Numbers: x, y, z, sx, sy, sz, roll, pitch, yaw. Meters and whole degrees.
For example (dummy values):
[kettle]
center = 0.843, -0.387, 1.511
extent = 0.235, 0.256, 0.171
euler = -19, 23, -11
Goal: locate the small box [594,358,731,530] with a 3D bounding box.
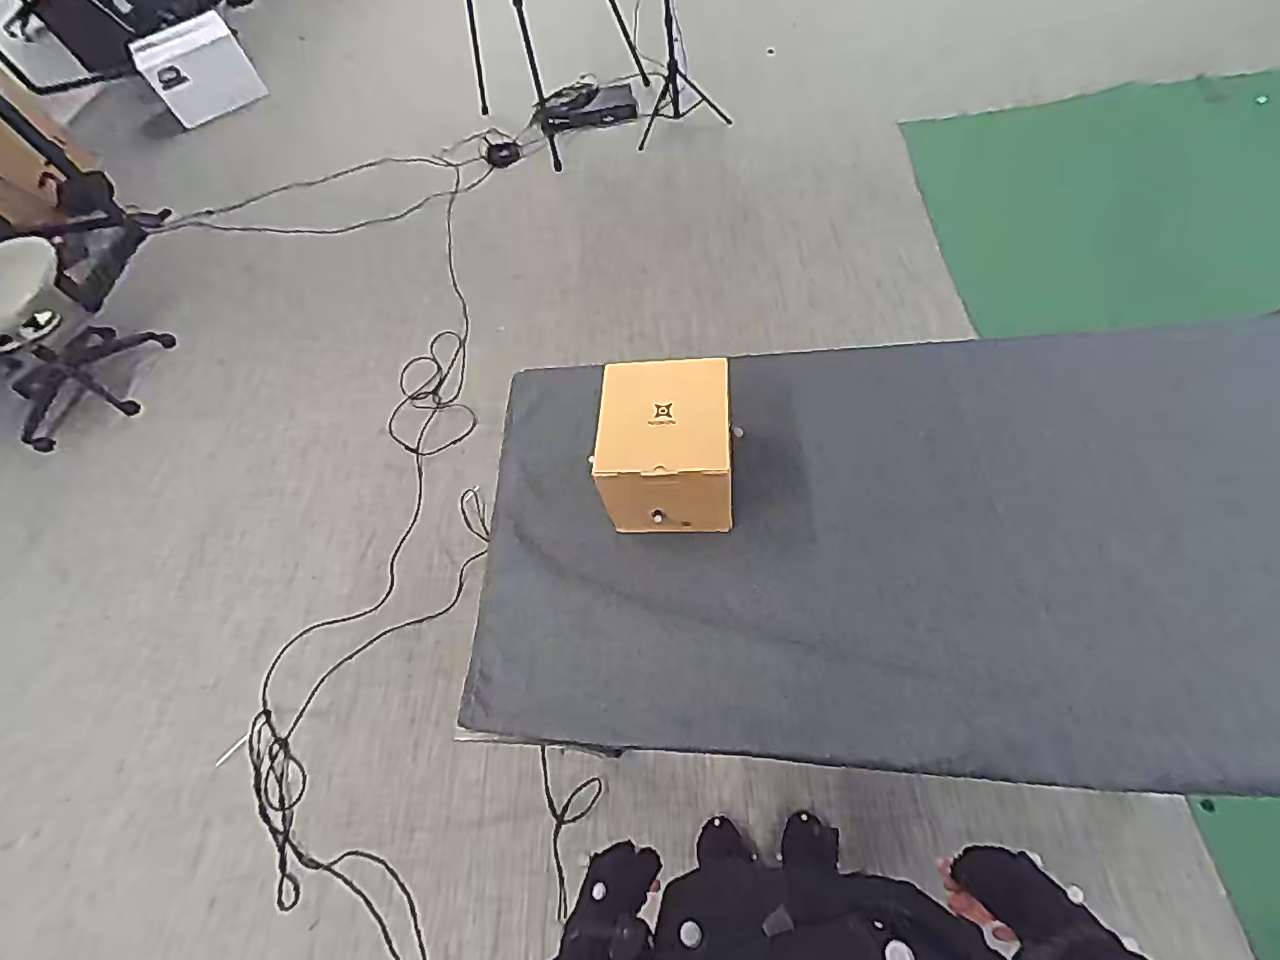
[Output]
[small box]
center = 0.040, -0.044, 0.747
extent = 0.168, 0.176, 0.179
euler = -2, 62, 9
